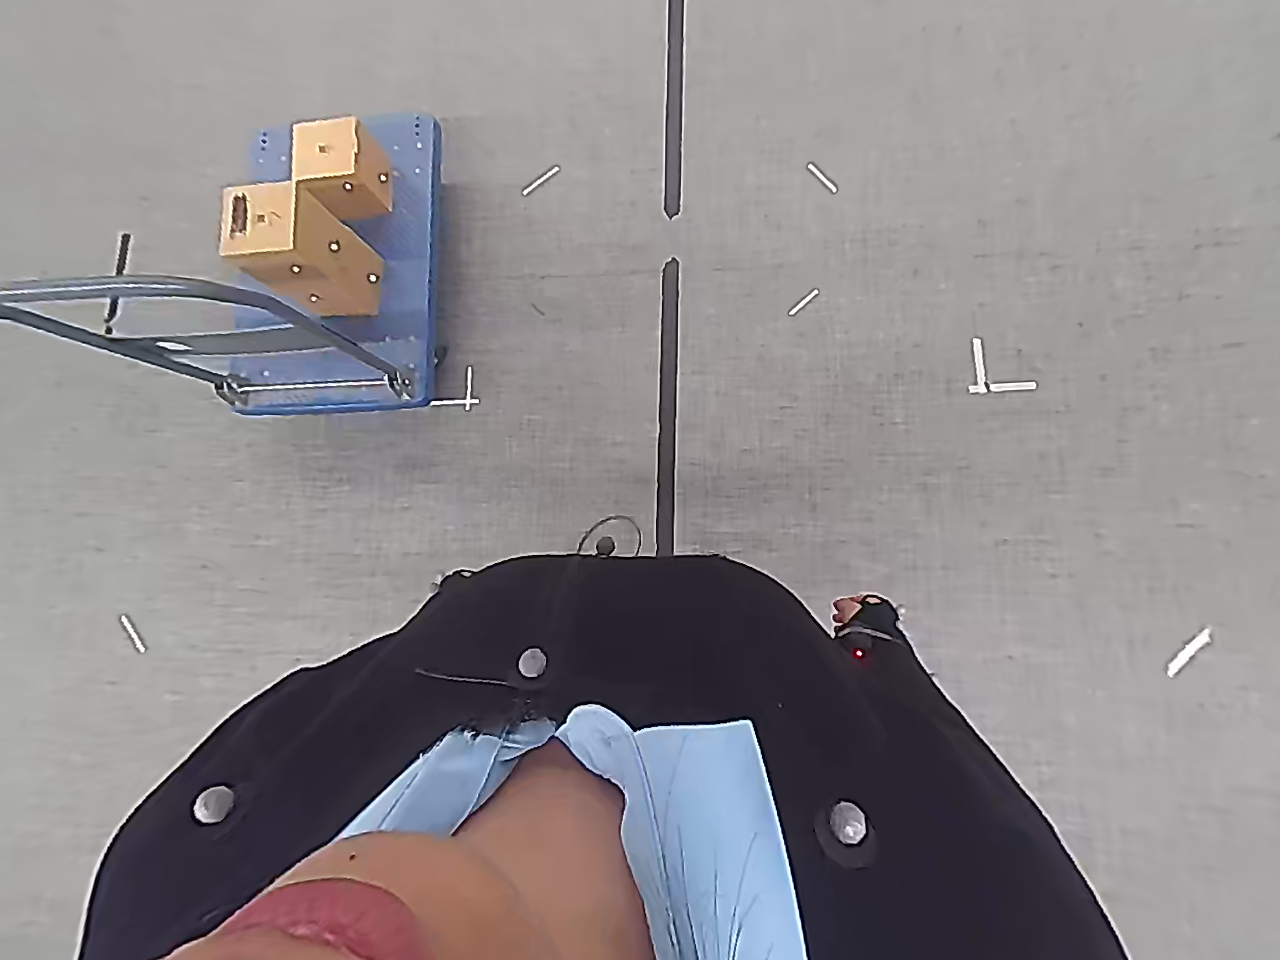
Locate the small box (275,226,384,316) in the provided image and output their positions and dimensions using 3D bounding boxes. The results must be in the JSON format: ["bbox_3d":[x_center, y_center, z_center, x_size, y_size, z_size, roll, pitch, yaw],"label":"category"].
[{"bbox_3d":[-0.808,-0.544,1.421,0.179,0.176,0.168,2,83,5],"label":"small box"}]

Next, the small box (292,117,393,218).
[{"bbox_3d":[-0.798,-0.835,1.462,0.179,0.176,0.168,-4,82,5],"label":"small box"}]
